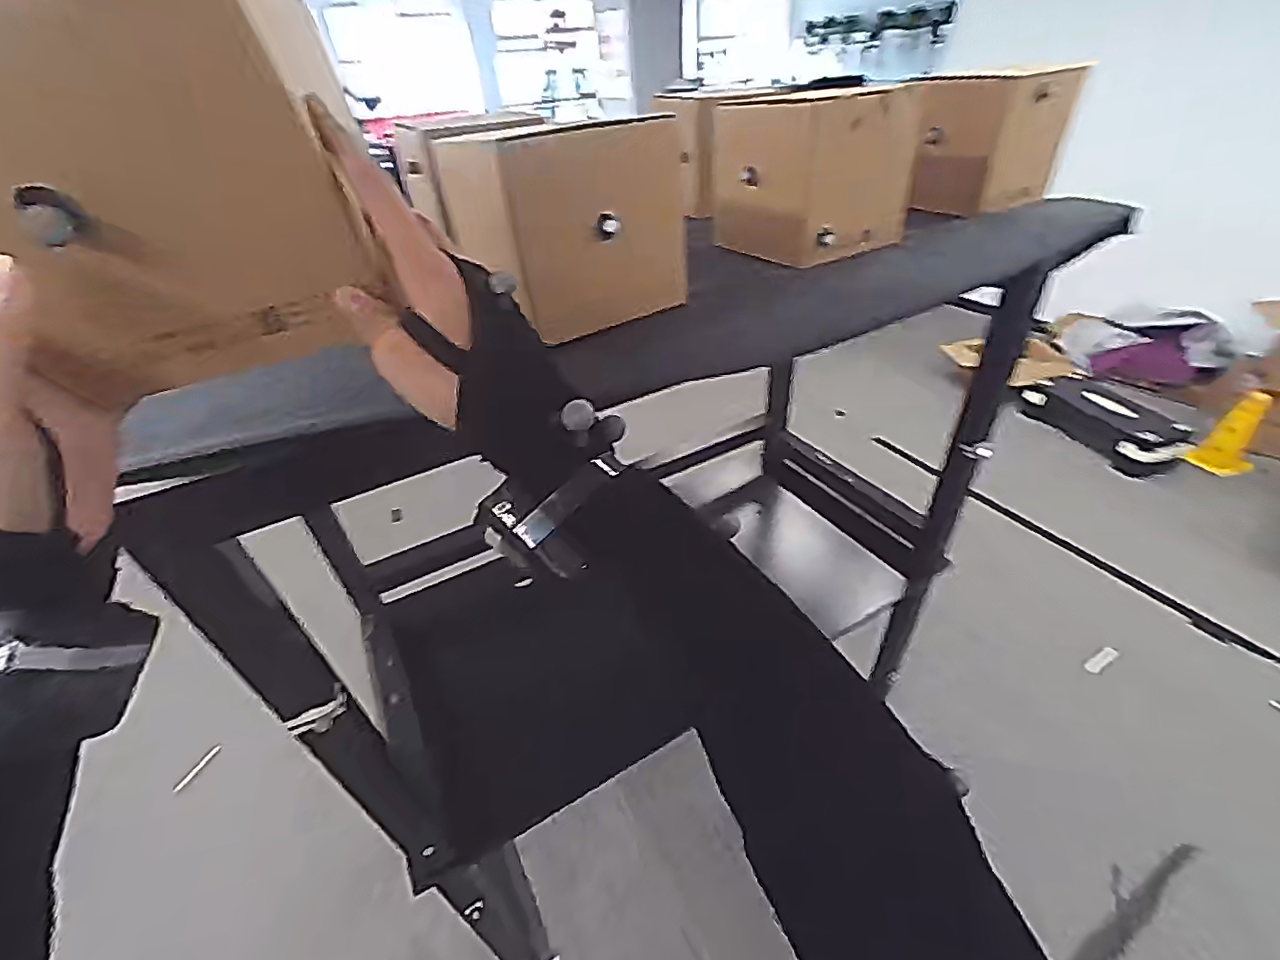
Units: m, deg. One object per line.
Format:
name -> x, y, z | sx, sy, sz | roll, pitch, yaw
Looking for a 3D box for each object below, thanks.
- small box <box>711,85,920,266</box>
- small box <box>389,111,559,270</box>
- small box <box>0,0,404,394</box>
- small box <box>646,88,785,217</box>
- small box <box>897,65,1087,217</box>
small box -> 0.206, -0.378, 0.675 | 0.168, 0.176, 0.179 | -22, 39, -21
small box -> -0.228, -0.407, 0.761 | 0.168, 0.176, 0.179 | -22, 41, -22
small box -> -0.235, -0.164, 0.273 | 0.168, 0.176, 0.179 | -18, 54, -8
small box -> 0.123, -0.556, 0.920 | 0.168, 0.176, 0.179 | -18, 39, -18
small box -> 0.496, -0.502, 0.805 | 0.168, 0.176, 0.179 | -23, 40, -21
